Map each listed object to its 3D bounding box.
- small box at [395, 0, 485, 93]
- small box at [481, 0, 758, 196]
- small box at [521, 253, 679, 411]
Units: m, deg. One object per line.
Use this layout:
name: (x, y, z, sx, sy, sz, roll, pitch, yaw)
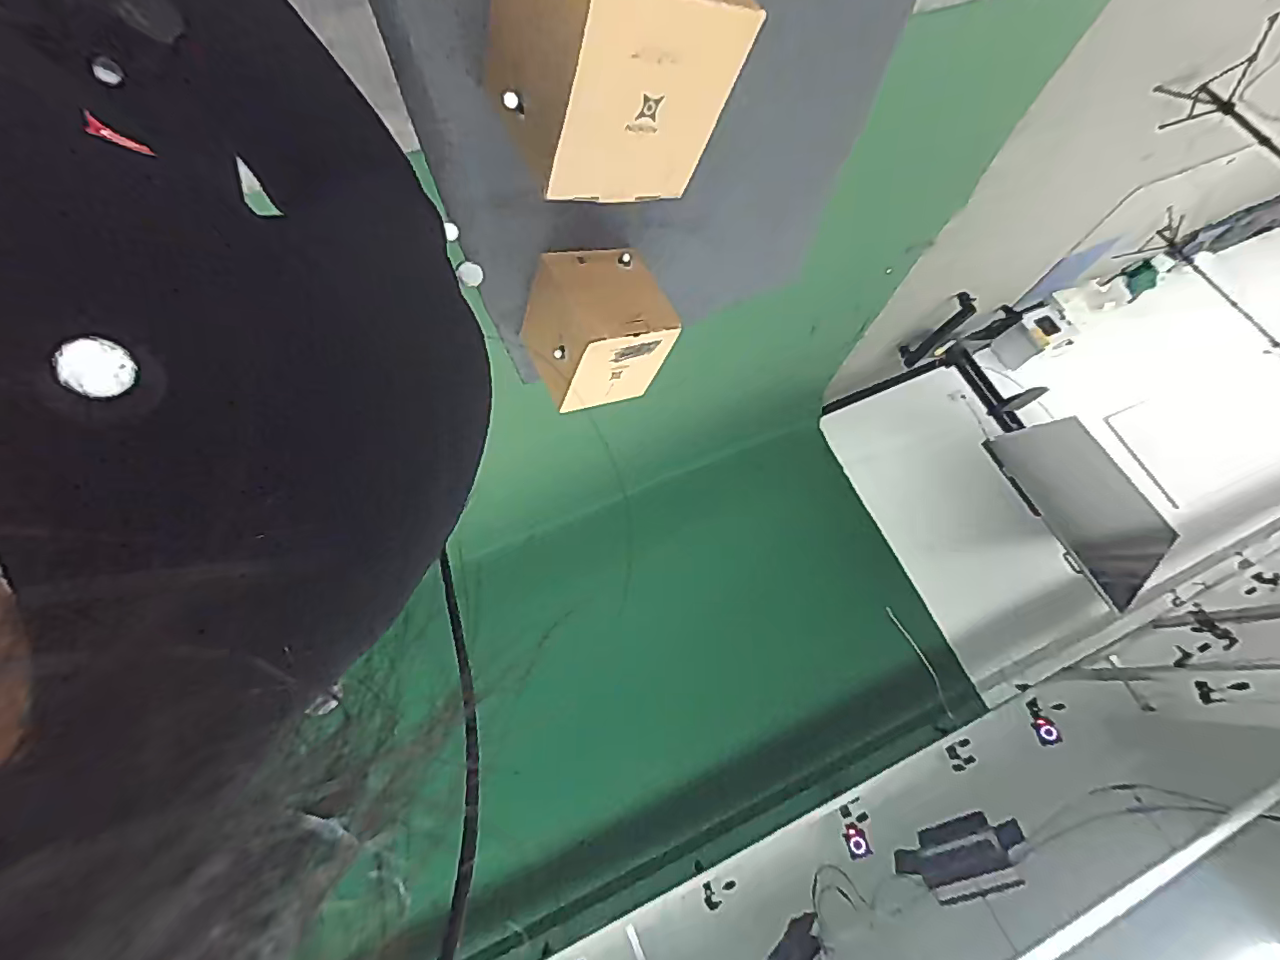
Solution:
small box: (-0.363, -0.892, 1.024, 0.179, 0.176, 0.168, -24, 163, -5)
small box: (-0.034, -0.392, 0.492, 0.168, 0.176, 0.179, -19, 160, -30)
small box: (-0.073, -0.239, 0.856, 0.168, 0.176, 0.179, -17, 160, -31)
